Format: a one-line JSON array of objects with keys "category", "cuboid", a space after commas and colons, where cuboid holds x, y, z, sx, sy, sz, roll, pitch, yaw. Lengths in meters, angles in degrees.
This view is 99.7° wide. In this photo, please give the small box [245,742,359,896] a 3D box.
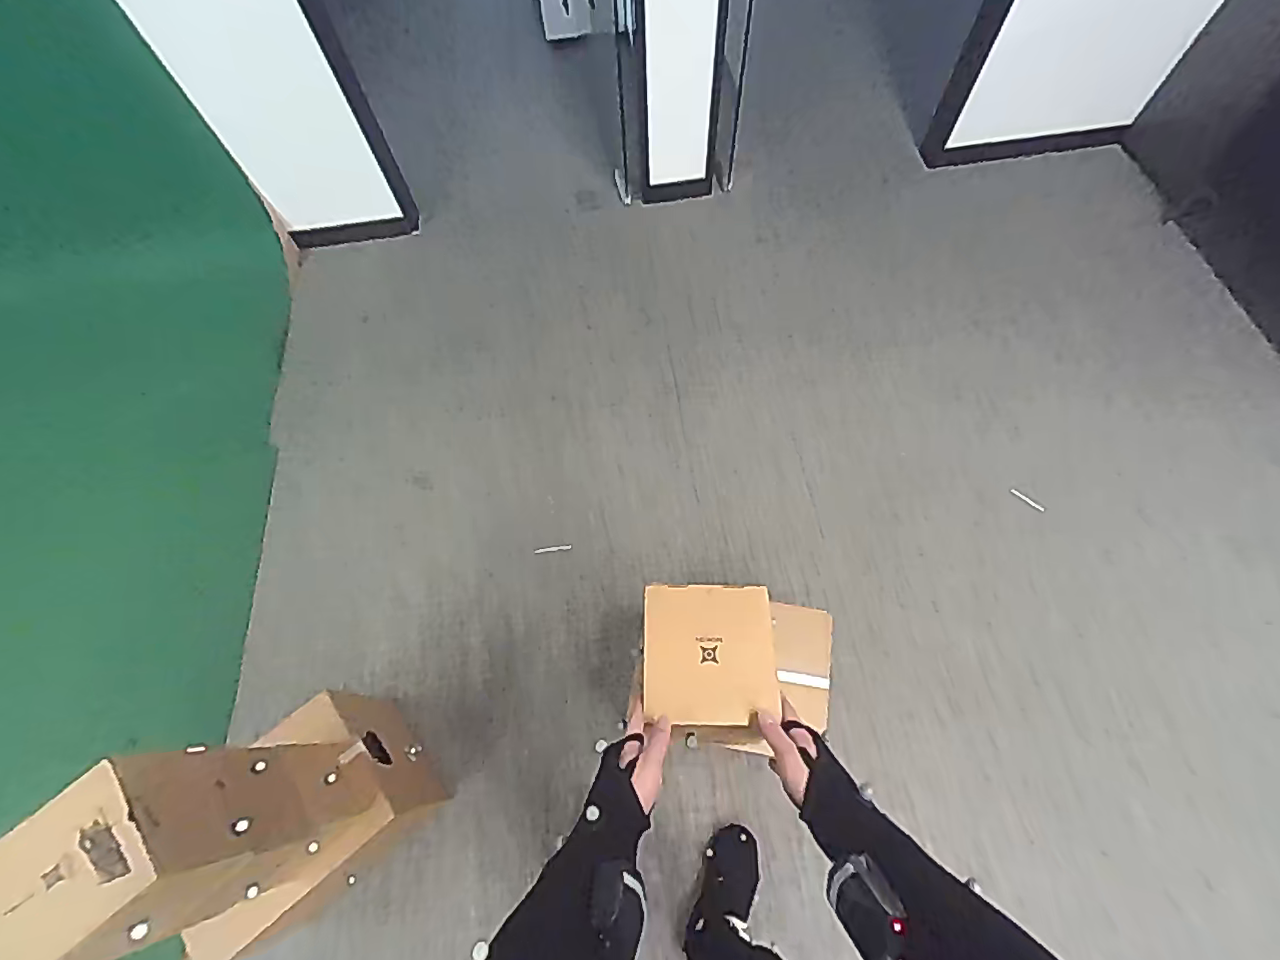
[{"category": "small box", "cuboid": [-0.646, 0.603, 0.984, 0.179, 0.176, 0.168, -39, 69, -15]}]

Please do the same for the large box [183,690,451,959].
[{"category": "large box", "cuboid": [-0.712, 0.732, 1.198, 0.408, 0.320, 0.320, -39, 68, -14]}]

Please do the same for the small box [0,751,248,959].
[{"category": "small box", "cuboid": [-0.647, 0.471, 0.686, 0.179, 0.176, 0.168, -40, 69, -13]}]

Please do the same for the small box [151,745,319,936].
[{"category": "small box", "cuboid": [-0.646, 0.538, 0.835, 0.168, 0.176, 0.179, -38, 70, -14]}]

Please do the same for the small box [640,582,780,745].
[{"category": "small box", "cuboid": [0.086, 0.254, 0.738, 0.168, 0.176, 0.179, 0, 54, 2]}]
